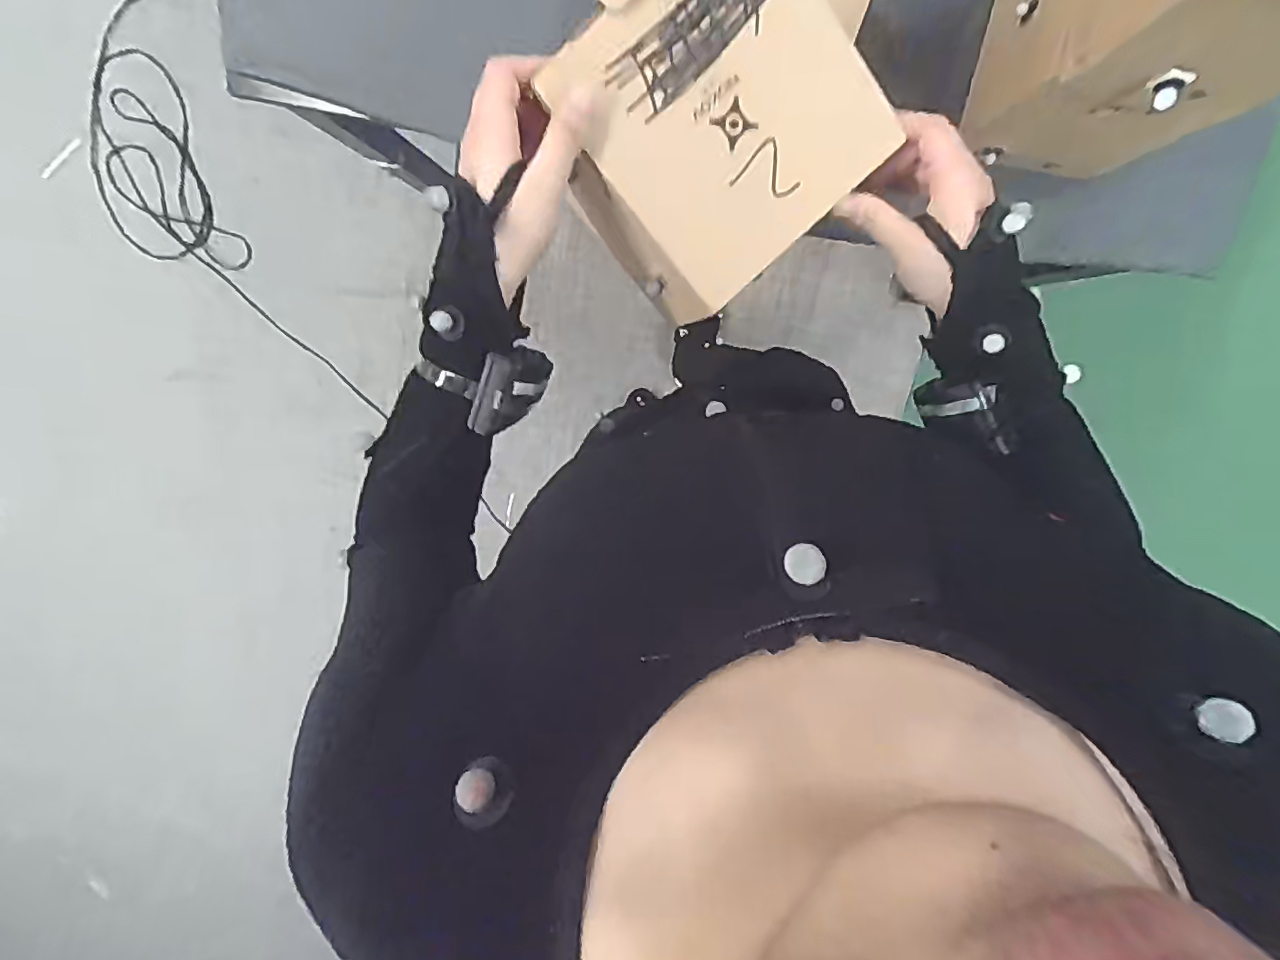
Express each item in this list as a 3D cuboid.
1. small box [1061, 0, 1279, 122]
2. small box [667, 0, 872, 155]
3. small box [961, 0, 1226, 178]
[{"bbox_3d":[0.445,-0.389,0.375,0.168,0.176,0.179,8,103,1],"label":"small box"},{"bbox_3d":[0.128,-0.467,0.536,0.168,0.176,0.179,19,101,-2],"label":"small box"},{"bbox_3d":[0.454,-0.426,0.533,0.168,0.176,0.179,11,101,0],"label":"small box"}]
